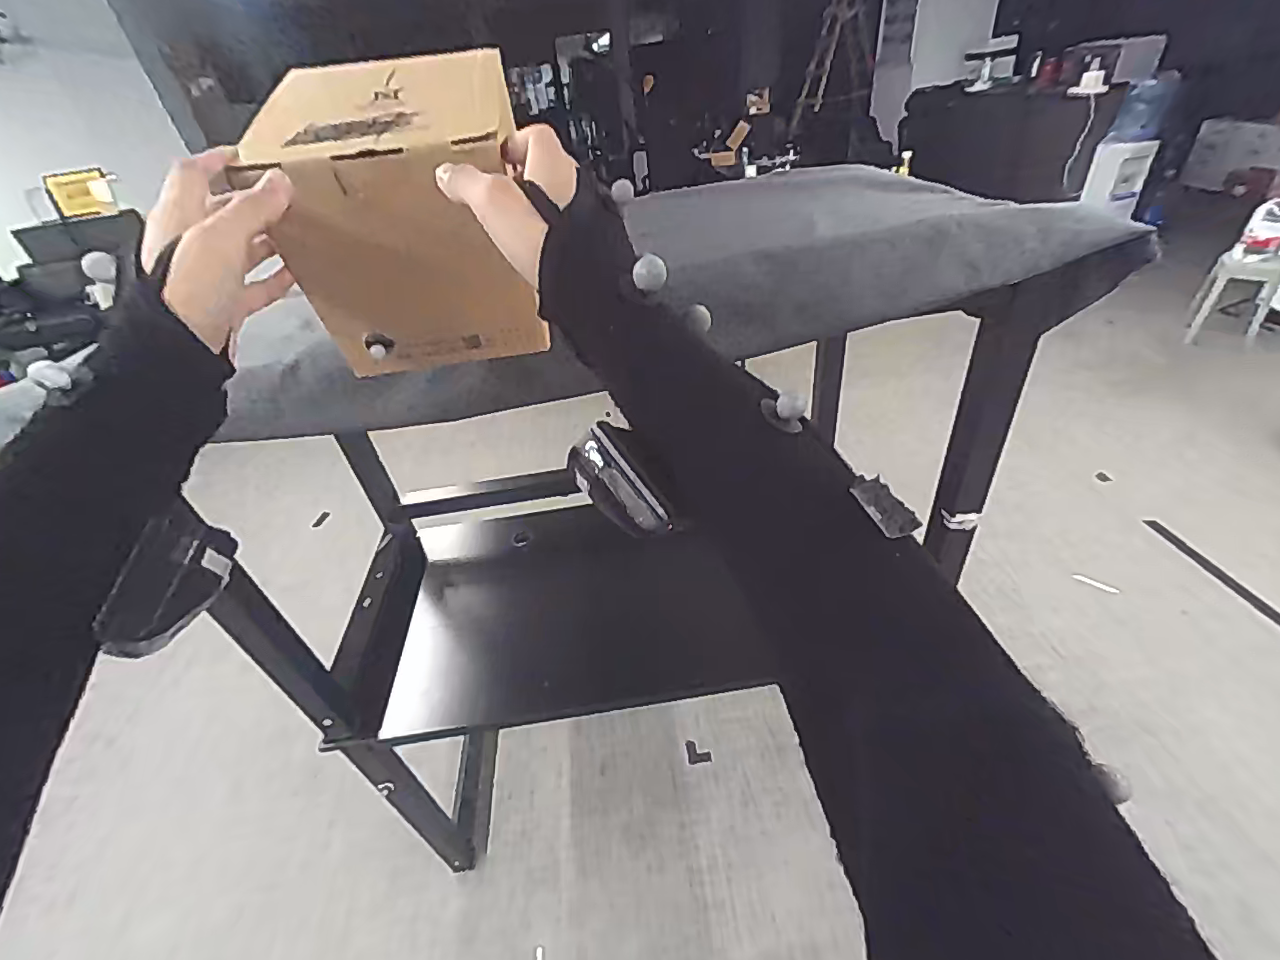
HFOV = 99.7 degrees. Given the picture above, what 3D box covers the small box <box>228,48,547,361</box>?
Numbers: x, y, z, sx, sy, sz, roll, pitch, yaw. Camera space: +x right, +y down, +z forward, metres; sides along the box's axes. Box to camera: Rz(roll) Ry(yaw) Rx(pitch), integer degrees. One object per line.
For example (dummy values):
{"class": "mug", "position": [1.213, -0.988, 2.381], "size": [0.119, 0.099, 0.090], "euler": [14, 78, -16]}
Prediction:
{"class": "small box", "position": [-0.173, -0.212, 0.438], "size": [0.168, 0.176, 0.179], "euler": [-8, 53, -3]}
